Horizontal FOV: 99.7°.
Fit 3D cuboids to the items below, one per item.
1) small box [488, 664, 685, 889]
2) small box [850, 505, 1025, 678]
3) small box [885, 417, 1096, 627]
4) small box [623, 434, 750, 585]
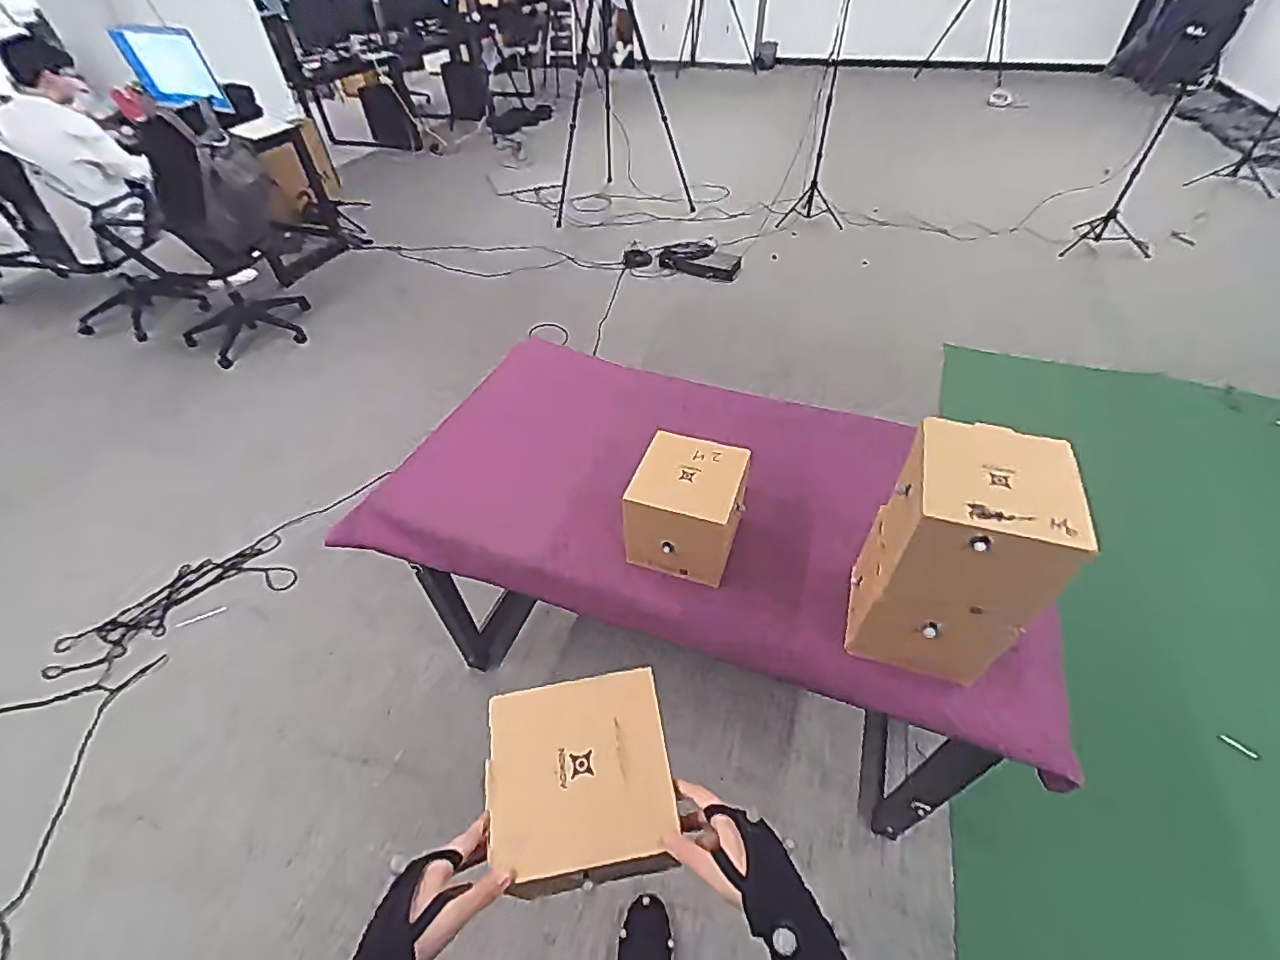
[{"bbox_3d":[-0.052,0.323,0.585,0.179,0.176,0.168,-10,50,-3],"label":"small box"},{"bbox_3d":[0.420,0.165,0.789,0.179,0.176,0.168,11,48,16],"label":"small box"},{"bbox_3d":[0.413,0.050,0.672,0.168,0.176,0.179,11,48,17],"label":"small box"},{"bbox_3d":[0.083,0.052,0.923,0.168,0.176,0.179,13,47,16],"label":"small box"}]
